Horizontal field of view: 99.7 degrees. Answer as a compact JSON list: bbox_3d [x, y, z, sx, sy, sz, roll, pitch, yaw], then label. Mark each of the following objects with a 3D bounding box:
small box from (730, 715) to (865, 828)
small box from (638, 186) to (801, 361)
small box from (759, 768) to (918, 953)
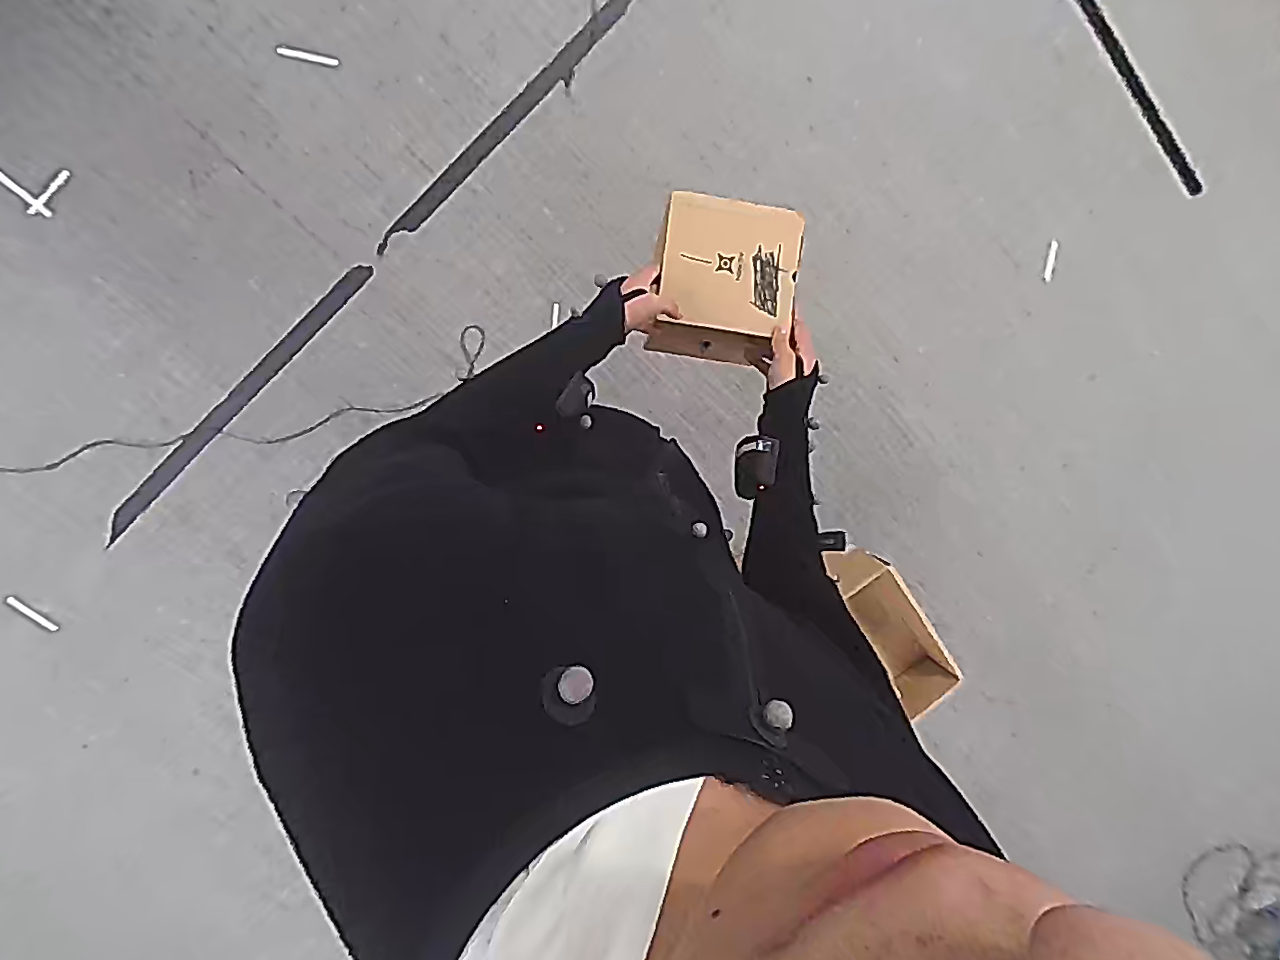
[{"bbox_3d":[0.317,0.632,1.123,0.179,0.176,0.168,-41,104,-1],"label":"small box"},{"bbox_3d":[0.098,-0.268,0.744,0.179,0.176,0.168,7,90,-4],"label":"small box"},{"bbox_3d":[0.344,0.665,0.964,0.168,0.176,0.179,-35,105,-3],"label":"small box"}]
